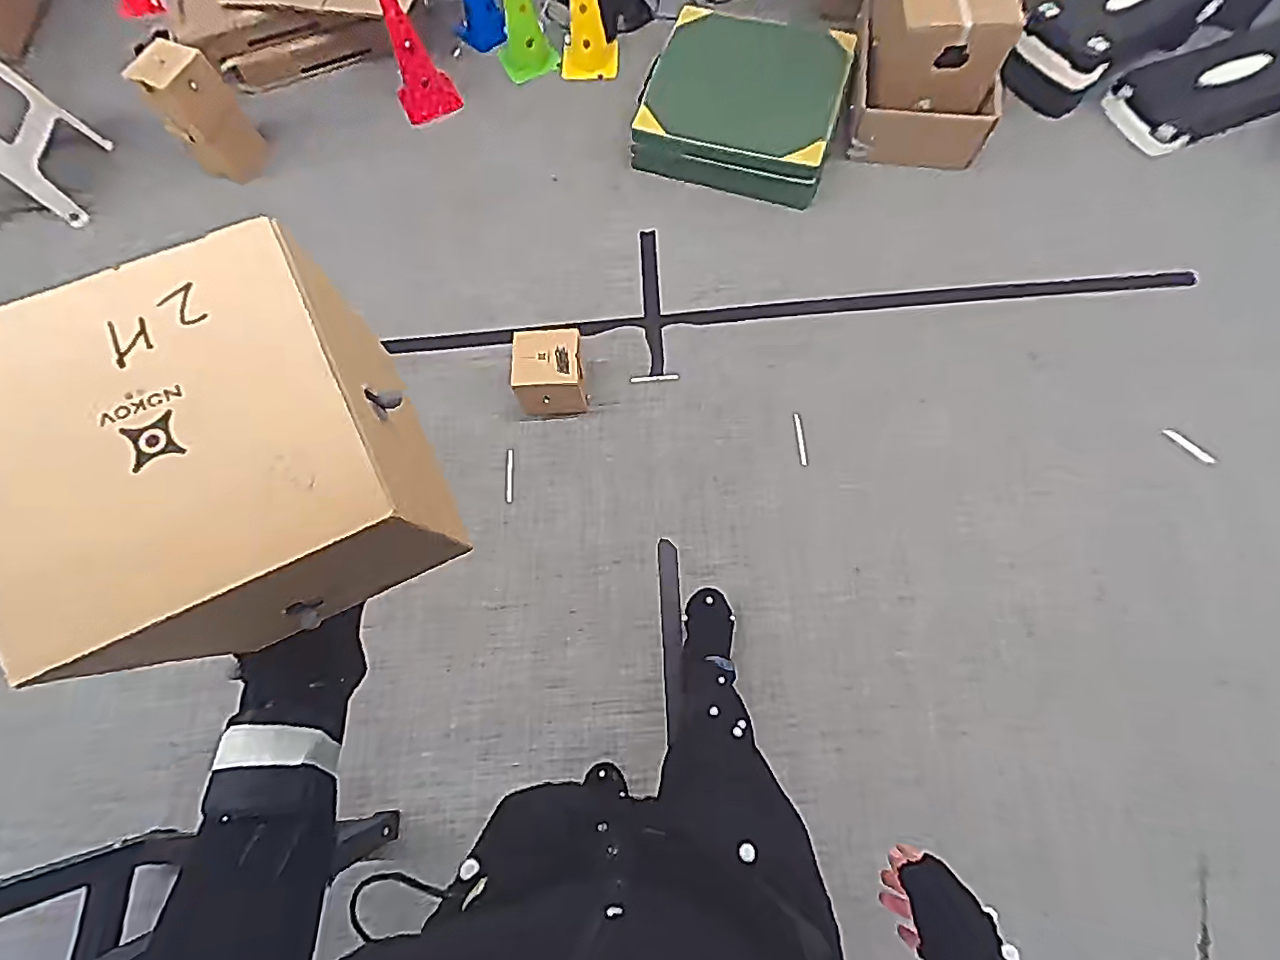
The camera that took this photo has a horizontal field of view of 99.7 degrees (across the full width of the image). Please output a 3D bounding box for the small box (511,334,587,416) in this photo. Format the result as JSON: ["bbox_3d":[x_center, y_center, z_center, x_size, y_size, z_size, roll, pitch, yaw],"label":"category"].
[{"bbox_3d":[-0.243,-0.284,1.491,0.179,0.176,0.168,-2,71,3],"label":"small box"}]

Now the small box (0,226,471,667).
[{"bbox_3d":[-0.225,-0.010,0.337,0.168,0.176,0.179,-24,80,-10],"label":"small box"}]
